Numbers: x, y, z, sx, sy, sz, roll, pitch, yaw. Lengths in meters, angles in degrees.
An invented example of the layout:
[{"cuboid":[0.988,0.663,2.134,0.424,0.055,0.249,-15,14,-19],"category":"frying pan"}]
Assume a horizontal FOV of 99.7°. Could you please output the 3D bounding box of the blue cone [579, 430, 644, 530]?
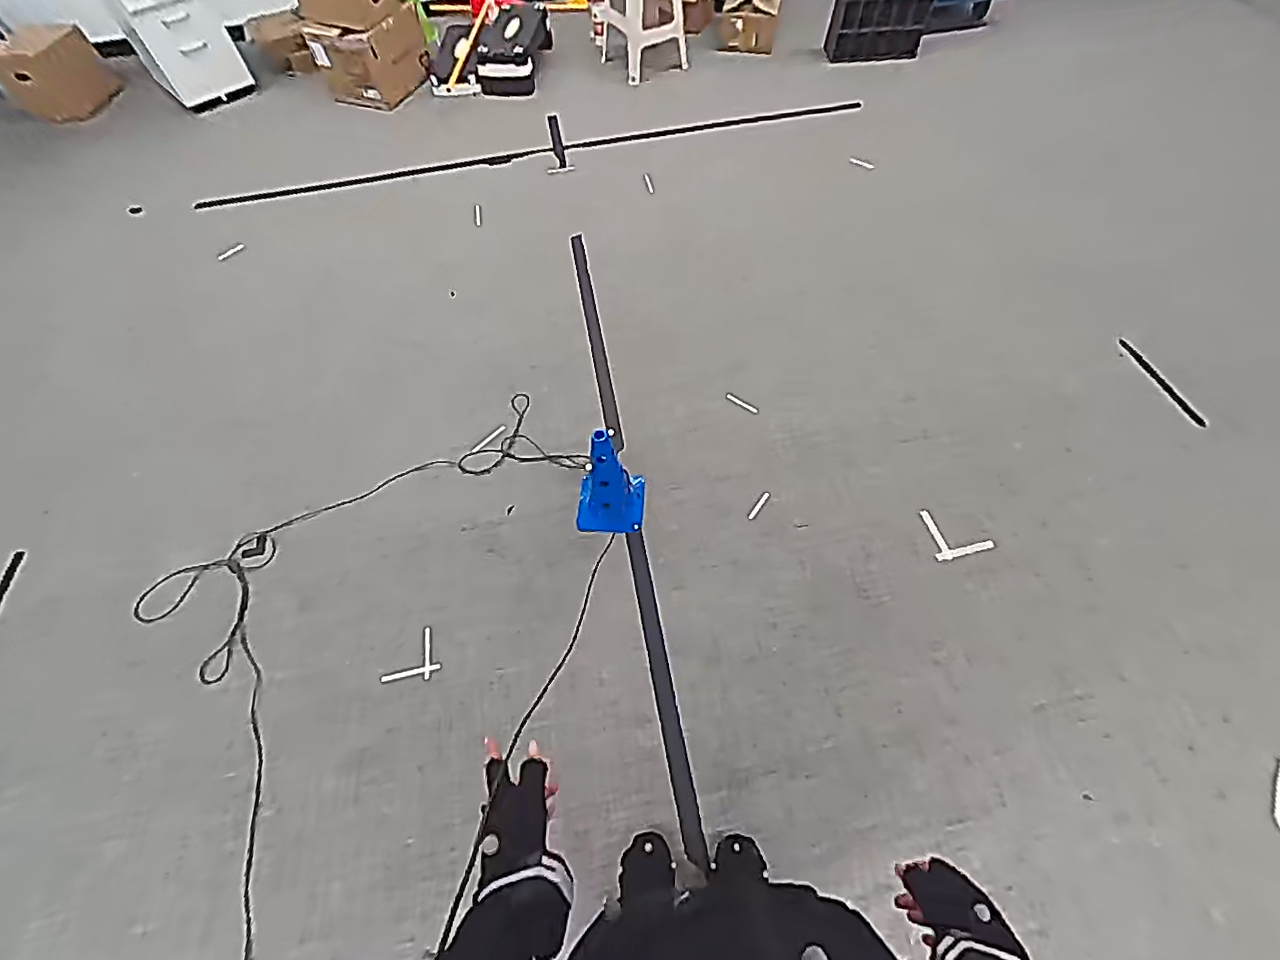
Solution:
[{"cuboid":[-0.090,-0.017,1.516,0.192,0.380,0.193,4,59,4],"category":"blue cone"}]
